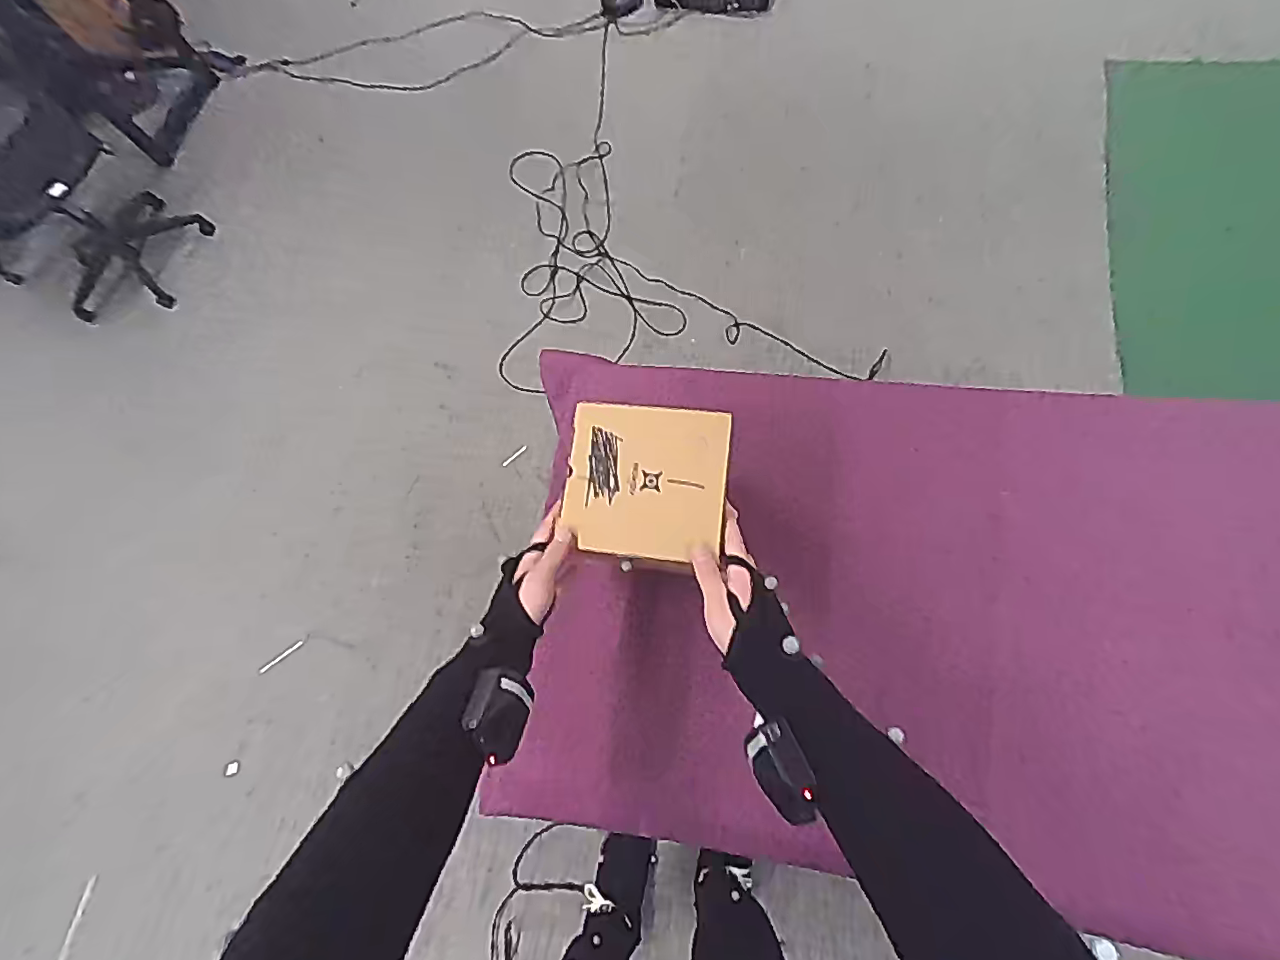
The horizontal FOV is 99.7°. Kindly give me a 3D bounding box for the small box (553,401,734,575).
[{"bbox_3d":[0.014,0.019,0.648,0.179,0.176,0.168,6,77,9],"label":"small box"}]
